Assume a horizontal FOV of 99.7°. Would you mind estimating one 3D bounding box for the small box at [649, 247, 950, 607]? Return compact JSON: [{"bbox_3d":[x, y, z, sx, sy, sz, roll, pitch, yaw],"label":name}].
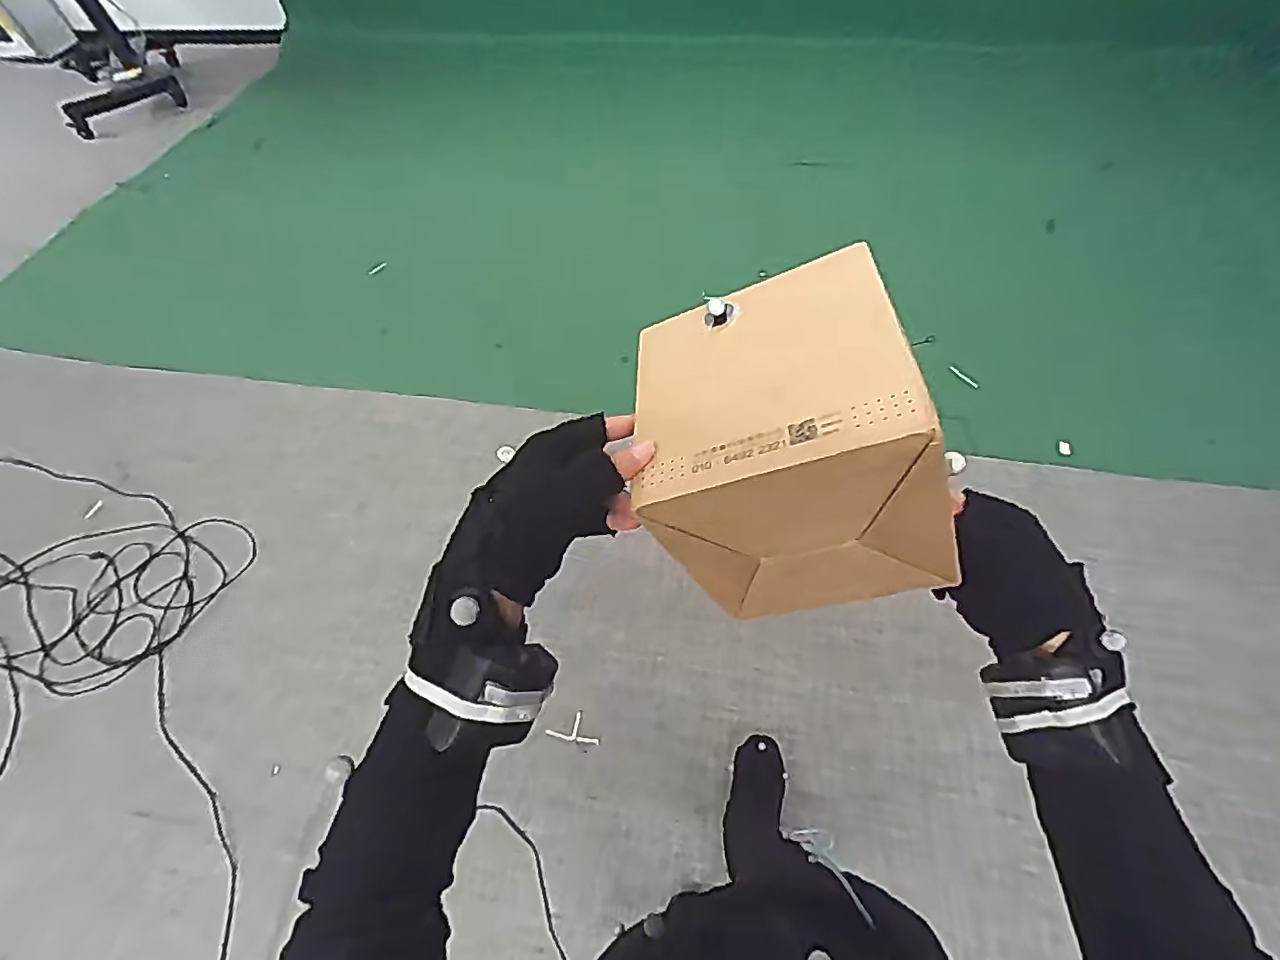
[{"bbox_3d":[0.111,-0.023,0.398,0.168,0.179,0.176,-17,48,22],"label":"small box"}]
